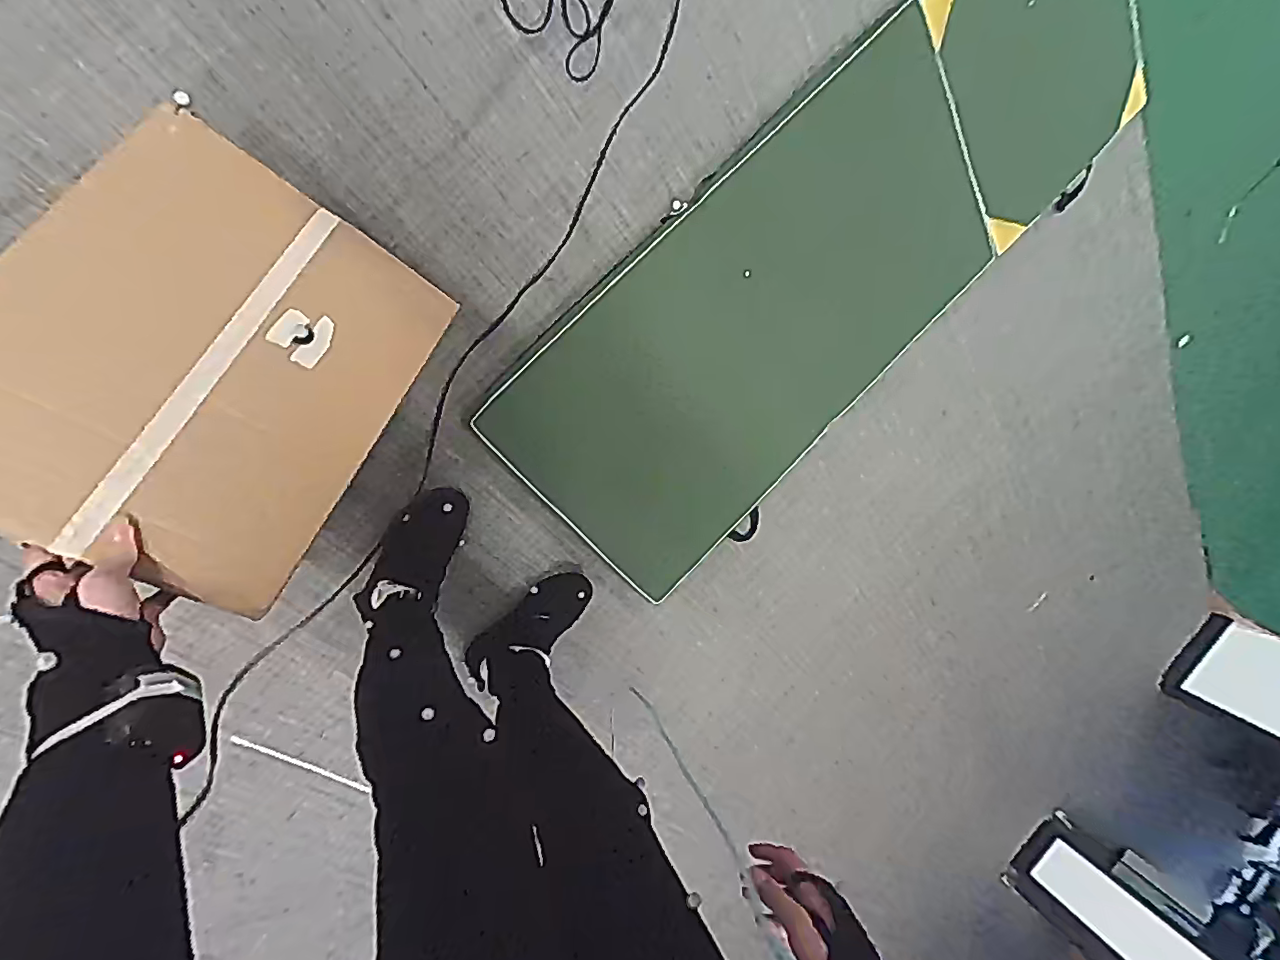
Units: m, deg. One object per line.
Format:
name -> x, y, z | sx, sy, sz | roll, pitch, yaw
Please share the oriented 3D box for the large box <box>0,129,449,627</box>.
large box -> -0.495, -0.083, 0.651 | 0.320, 0.320, 0.408 | 33, 69, -28
